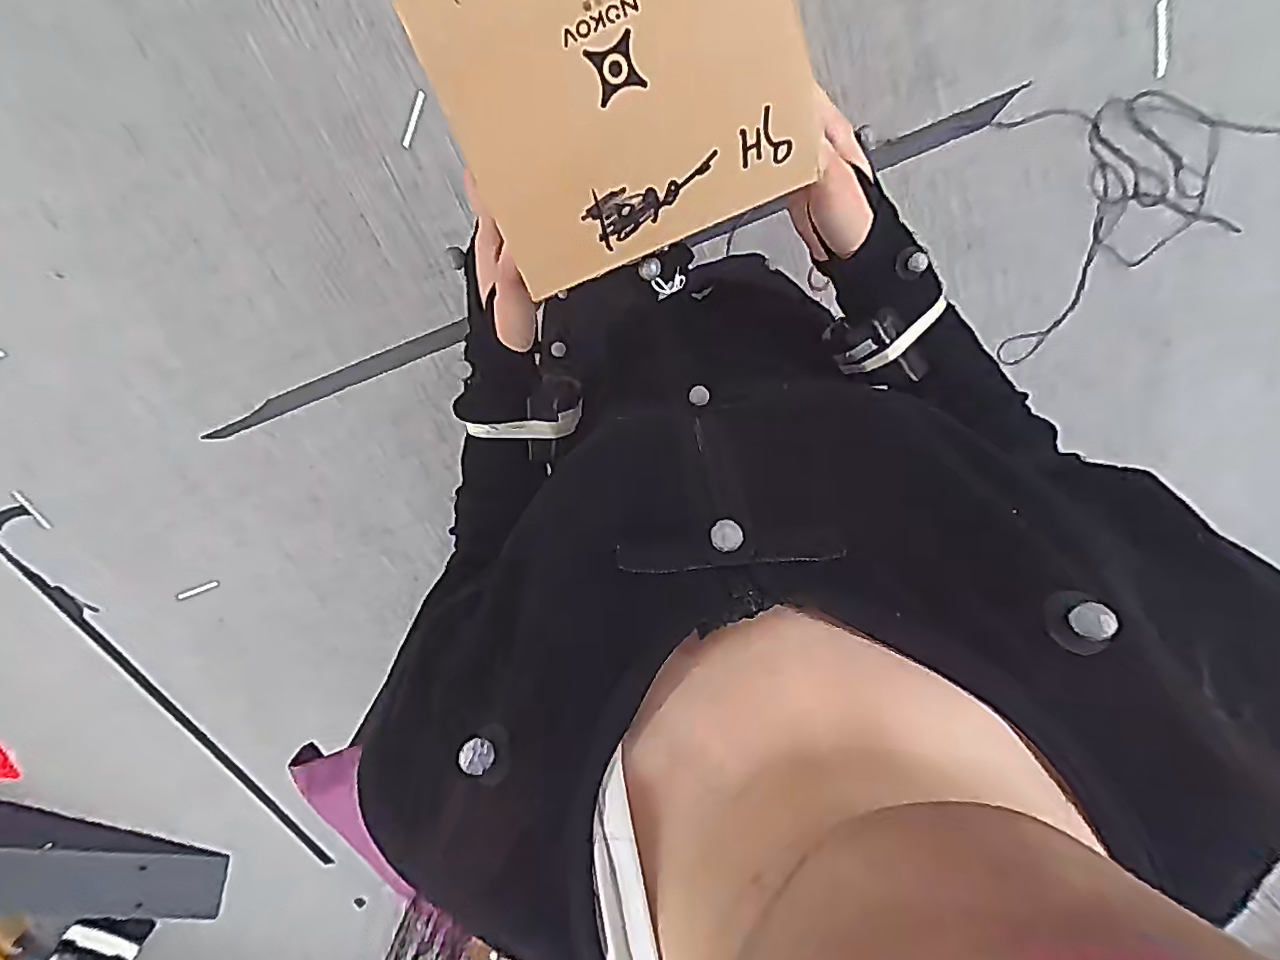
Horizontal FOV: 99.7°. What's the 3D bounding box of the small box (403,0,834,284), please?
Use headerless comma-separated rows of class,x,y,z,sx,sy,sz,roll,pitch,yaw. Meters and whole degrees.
small box,-0.013,-0.234,0.311,0.168,0.176,0.179,-20,114,10

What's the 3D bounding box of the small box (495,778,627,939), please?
small box,-0.129,0.669,0.969,0.179,0.176,0.168,-18,112,9
